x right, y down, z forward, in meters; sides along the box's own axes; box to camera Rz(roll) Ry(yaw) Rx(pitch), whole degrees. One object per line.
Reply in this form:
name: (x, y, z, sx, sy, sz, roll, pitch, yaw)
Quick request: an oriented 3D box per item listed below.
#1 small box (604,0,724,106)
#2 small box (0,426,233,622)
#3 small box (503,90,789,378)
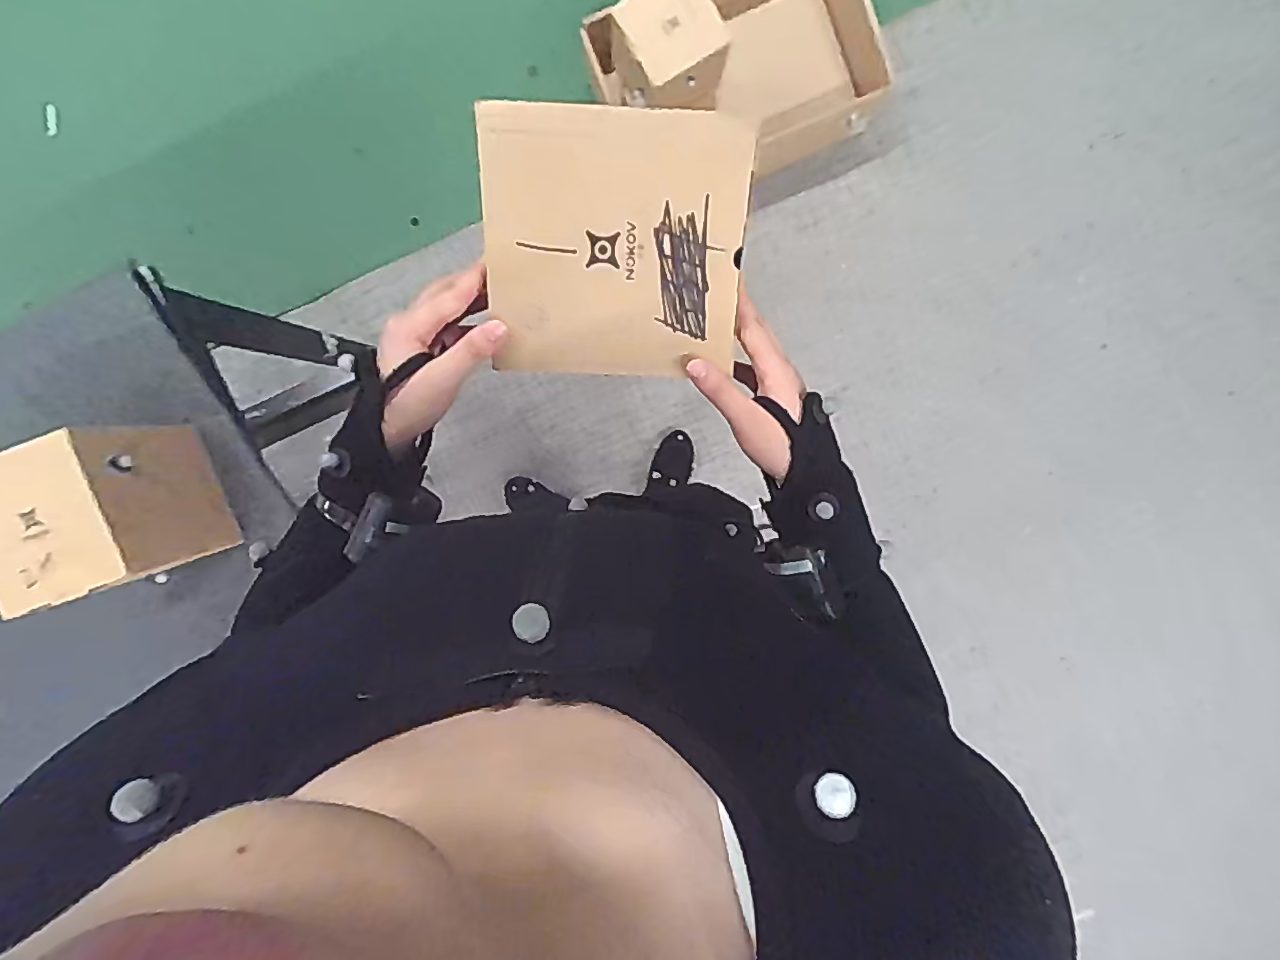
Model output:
small box: (0.043, -0.871, 1.091, 0.179, 0.176, 0.168, -32, 97, 0)
small box: (-0.656, 0.041, 0.655, 0.168, 0.176, 0.179, -19, 97, 4)
small box: (-0.002, -0.184, 0.428, 0.179, 0.176, 0.168, 3, 113, -2)
